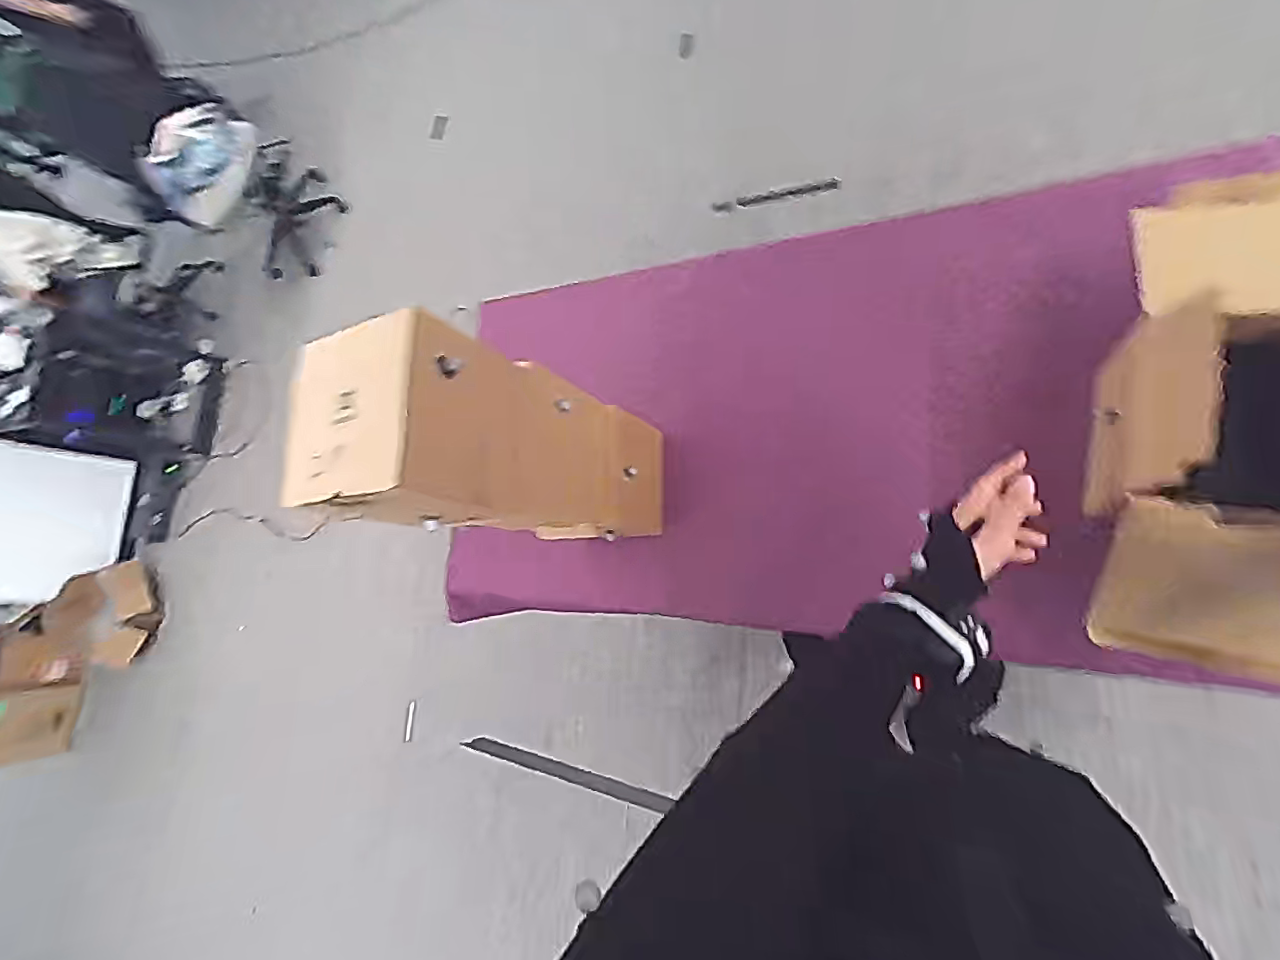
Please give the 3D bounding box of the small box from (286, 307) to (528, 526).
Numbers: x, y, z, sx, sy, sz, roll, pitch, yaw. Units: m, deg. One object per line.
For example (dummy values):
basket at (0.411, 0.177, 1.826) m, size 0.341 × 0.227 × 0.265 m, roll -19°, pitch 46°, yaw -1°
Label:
small box at (-0.236, -0.052, 0.580) m, size 0.168 × 0.176 × 0.179 m, roll -7°, pitch 76°, yaw 27°

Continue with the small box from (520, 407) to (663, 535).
small box at (-0.071, -0.003, 0.863) m, size 0.168 × 0.176 × 0.179 m, roll -4°, pitch 78°, yaw 27°
